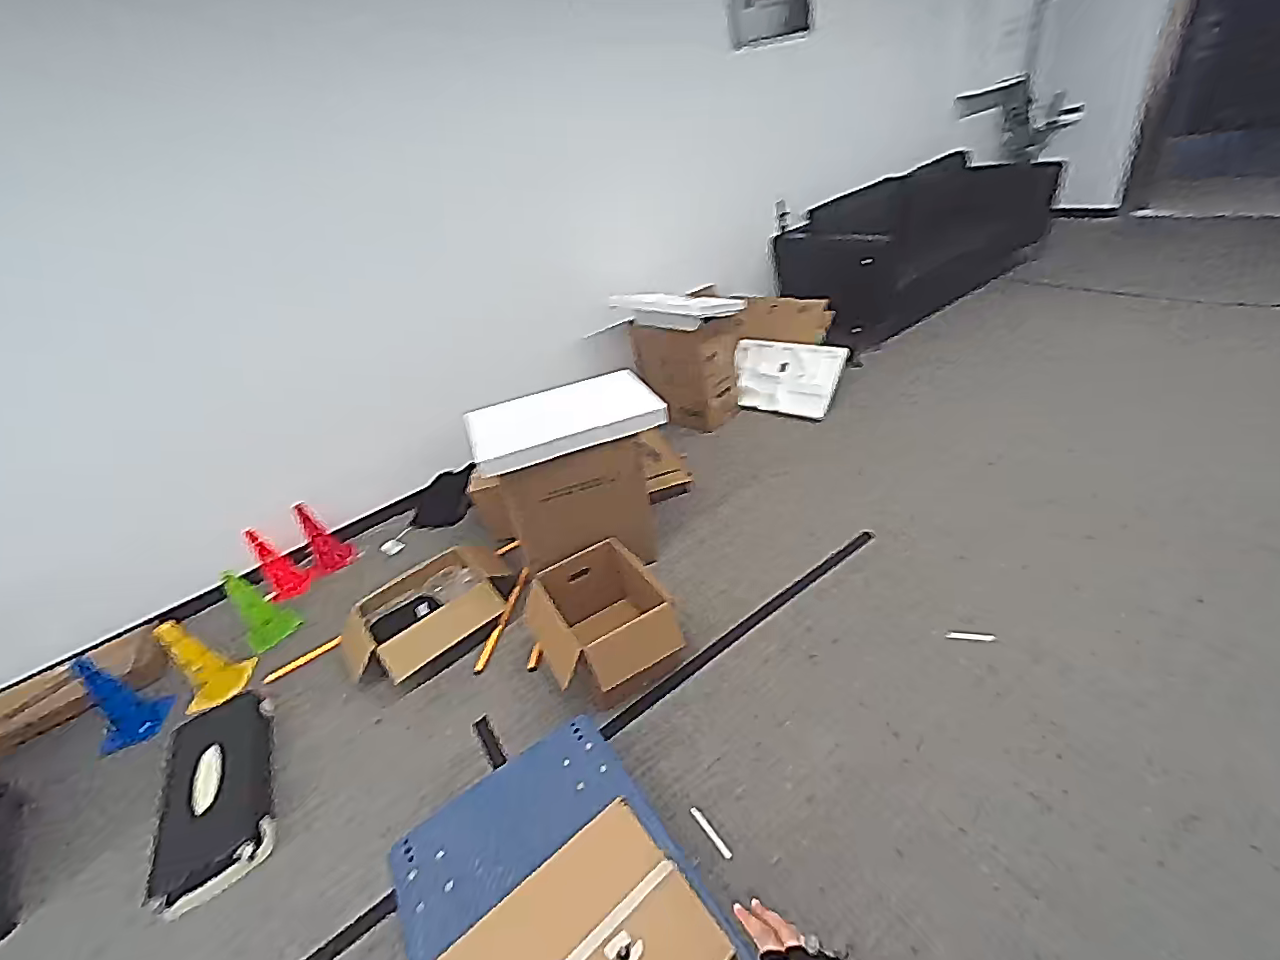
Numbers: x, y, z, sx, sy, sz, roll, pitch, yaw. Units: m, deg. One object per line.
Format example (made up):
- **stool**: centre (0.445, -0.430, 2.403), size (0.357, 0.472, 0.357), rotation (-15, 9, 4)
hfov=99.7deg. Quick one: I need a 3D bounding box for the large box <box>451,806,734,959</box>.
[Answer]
- **large box**: centre (-0.074, 0.889, 0.917), size (0.408, 0.320, 0.320), rotation (-30, 37, -27)
